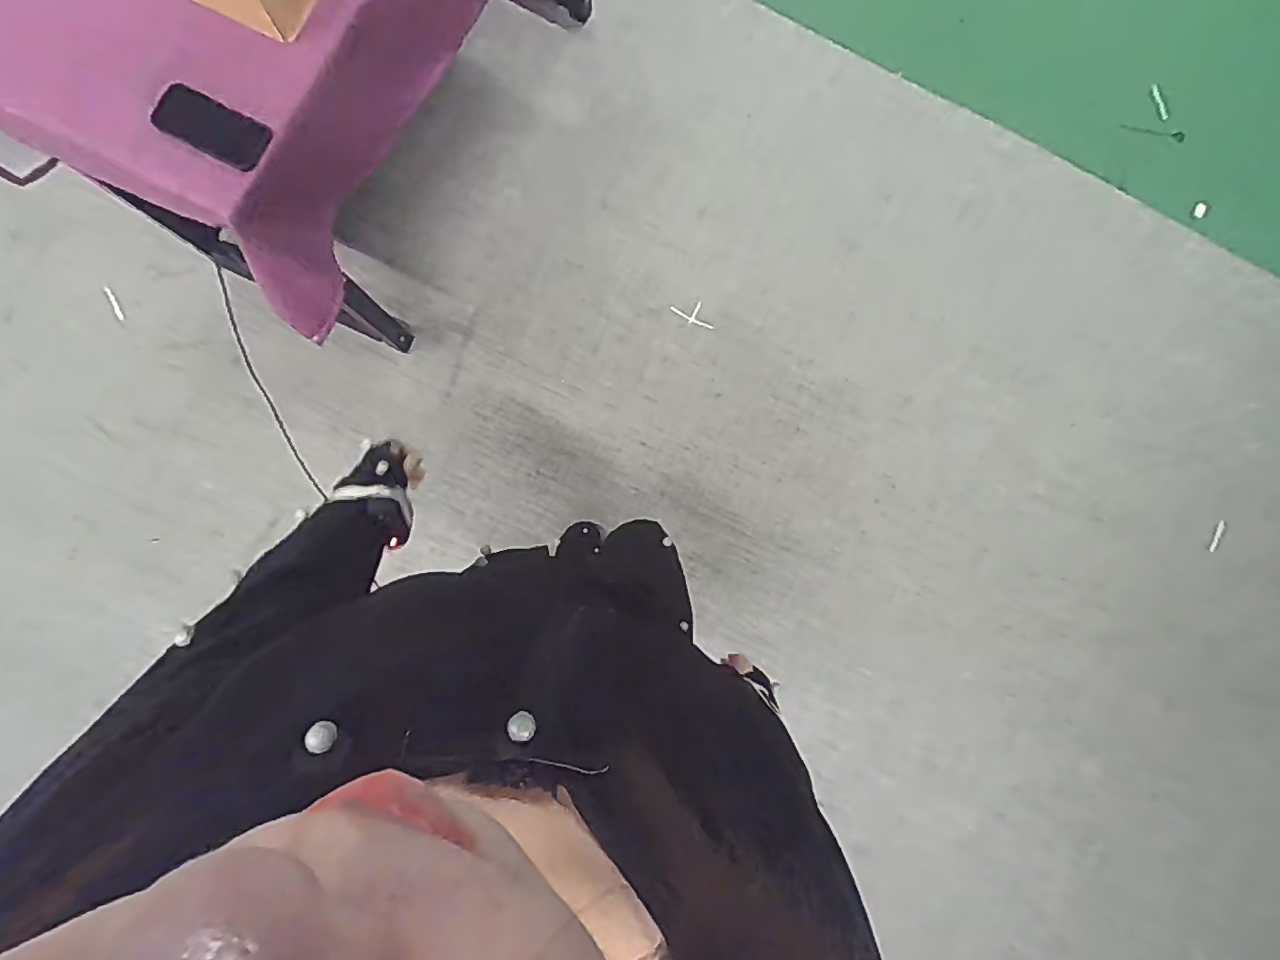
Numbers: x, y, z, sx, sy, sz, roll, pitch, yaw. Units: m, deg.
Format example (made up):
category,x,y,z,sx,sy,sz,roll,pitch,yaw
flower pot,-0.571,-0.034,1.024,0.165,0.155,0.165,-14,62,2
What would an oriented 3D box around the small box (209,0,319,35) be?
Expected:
category,x,y,z,sx,sy,sz,roll,pitch,yaw
small box,-0.551,-0.762,0.726,0.179,0.176,0.168,25,85,-3
